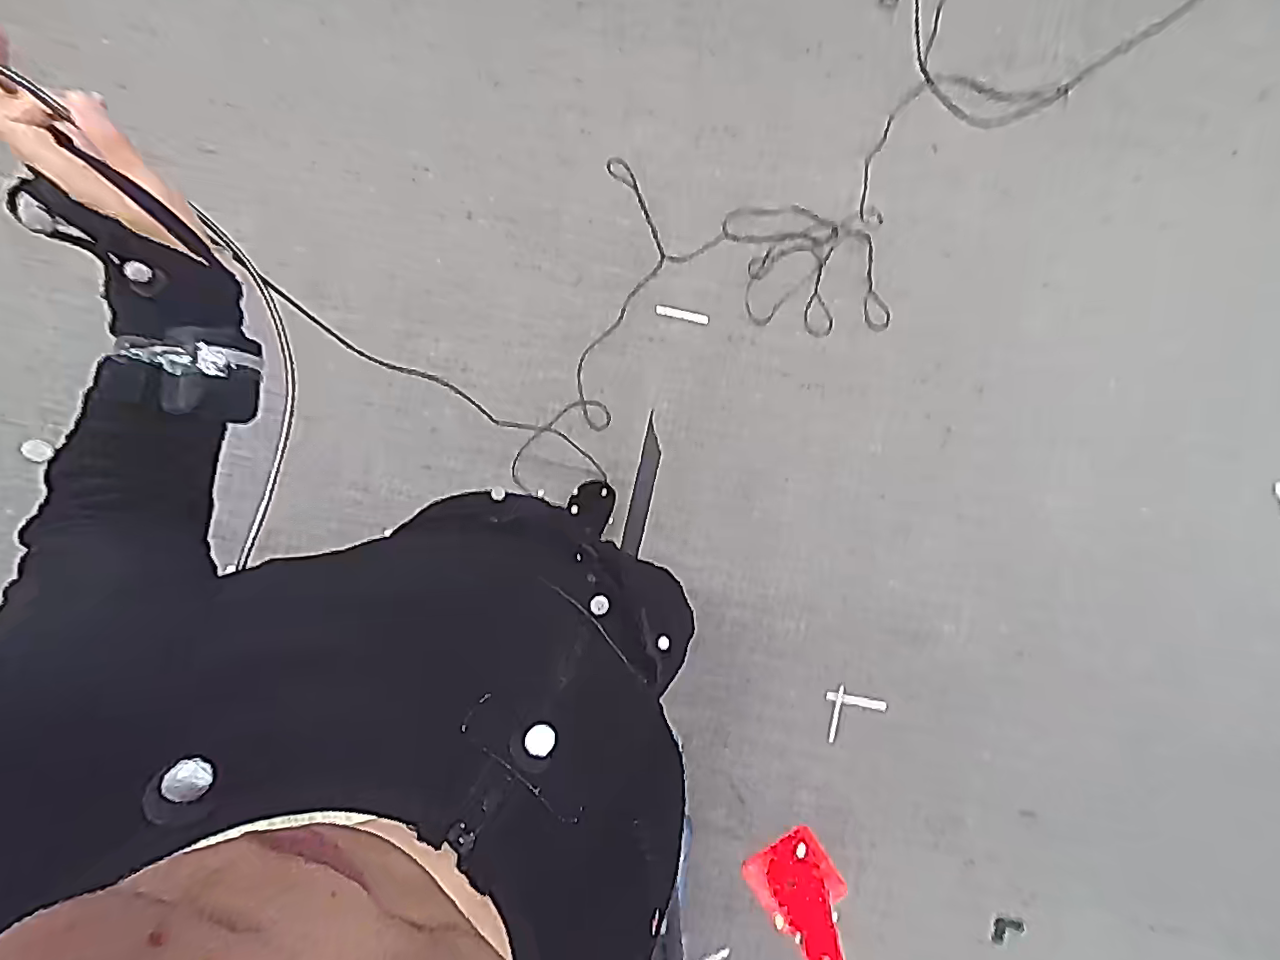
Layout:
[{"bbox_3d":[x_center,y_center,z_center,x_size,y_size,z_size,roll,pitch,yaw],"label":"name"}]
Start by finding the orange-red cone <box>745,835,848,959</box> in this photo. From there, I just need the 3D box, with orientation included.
[{"bbox_3d":[0.375,0.985,1.146,0.199,0.360,0.198,-32,87,1],"label":"orange-red cone"}]

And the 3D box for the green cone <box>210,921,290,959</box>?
[{"bbox_3d":[-0.959,1.179,1.153,0.200,0.368,0.202,-1,87,0],"label":"green cone"}]
